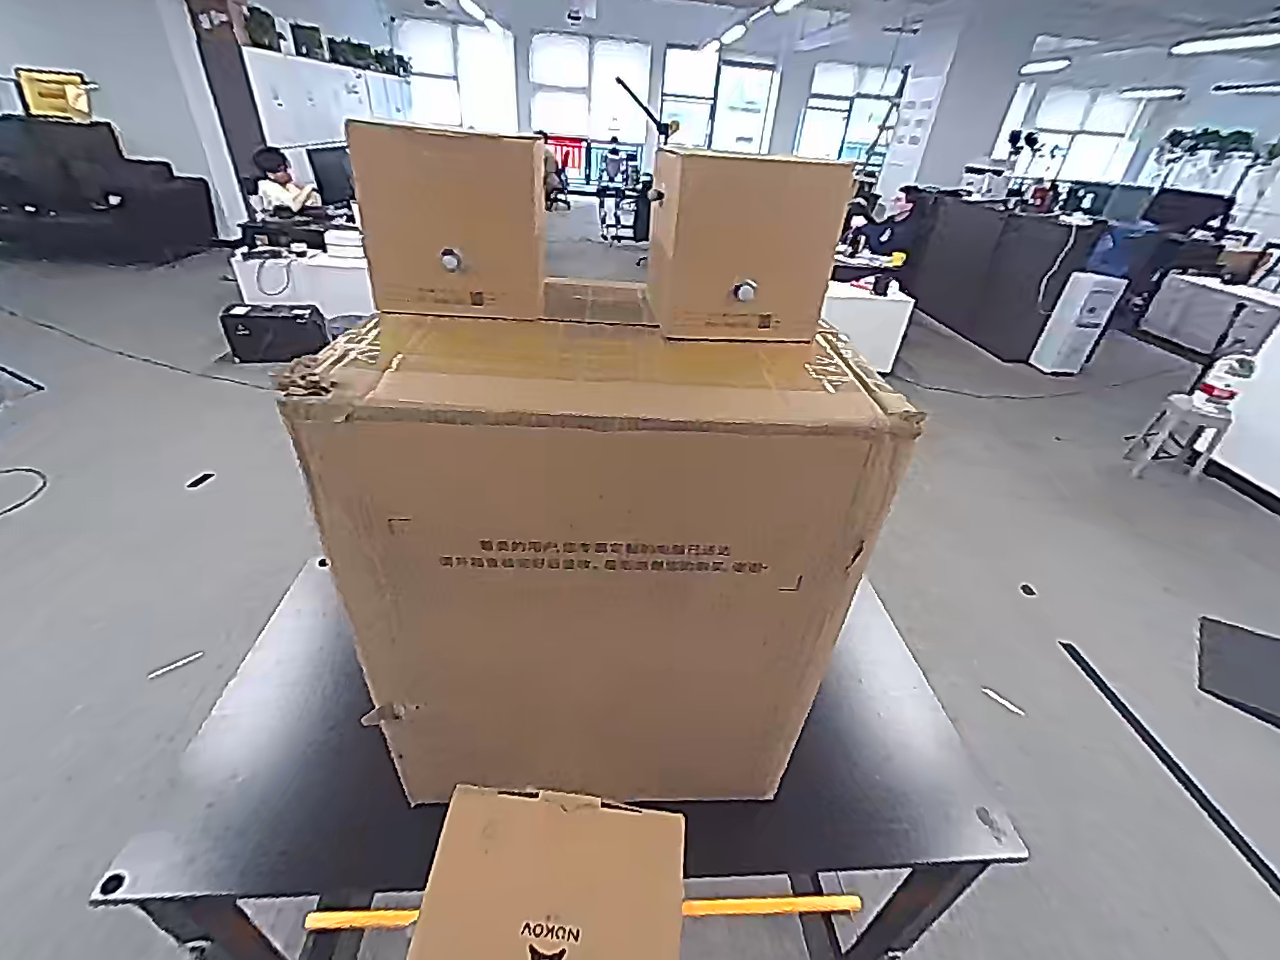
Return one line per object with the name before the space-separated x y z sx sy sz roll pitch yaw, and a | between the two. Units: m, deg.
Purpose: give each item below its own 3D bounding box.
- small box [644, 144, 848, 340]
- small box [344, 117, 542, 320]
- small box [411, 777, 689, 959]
small box | 0.098 -0.264 0.597 0.168 0.176 0.179 -1 33 -7
small box | -0.196 -0.288 0.596 0.168 0.176 0.179 1 32 -7
small box | -0.063 0.336 0.389 0.168 0.176 0.179 8 52 -1
